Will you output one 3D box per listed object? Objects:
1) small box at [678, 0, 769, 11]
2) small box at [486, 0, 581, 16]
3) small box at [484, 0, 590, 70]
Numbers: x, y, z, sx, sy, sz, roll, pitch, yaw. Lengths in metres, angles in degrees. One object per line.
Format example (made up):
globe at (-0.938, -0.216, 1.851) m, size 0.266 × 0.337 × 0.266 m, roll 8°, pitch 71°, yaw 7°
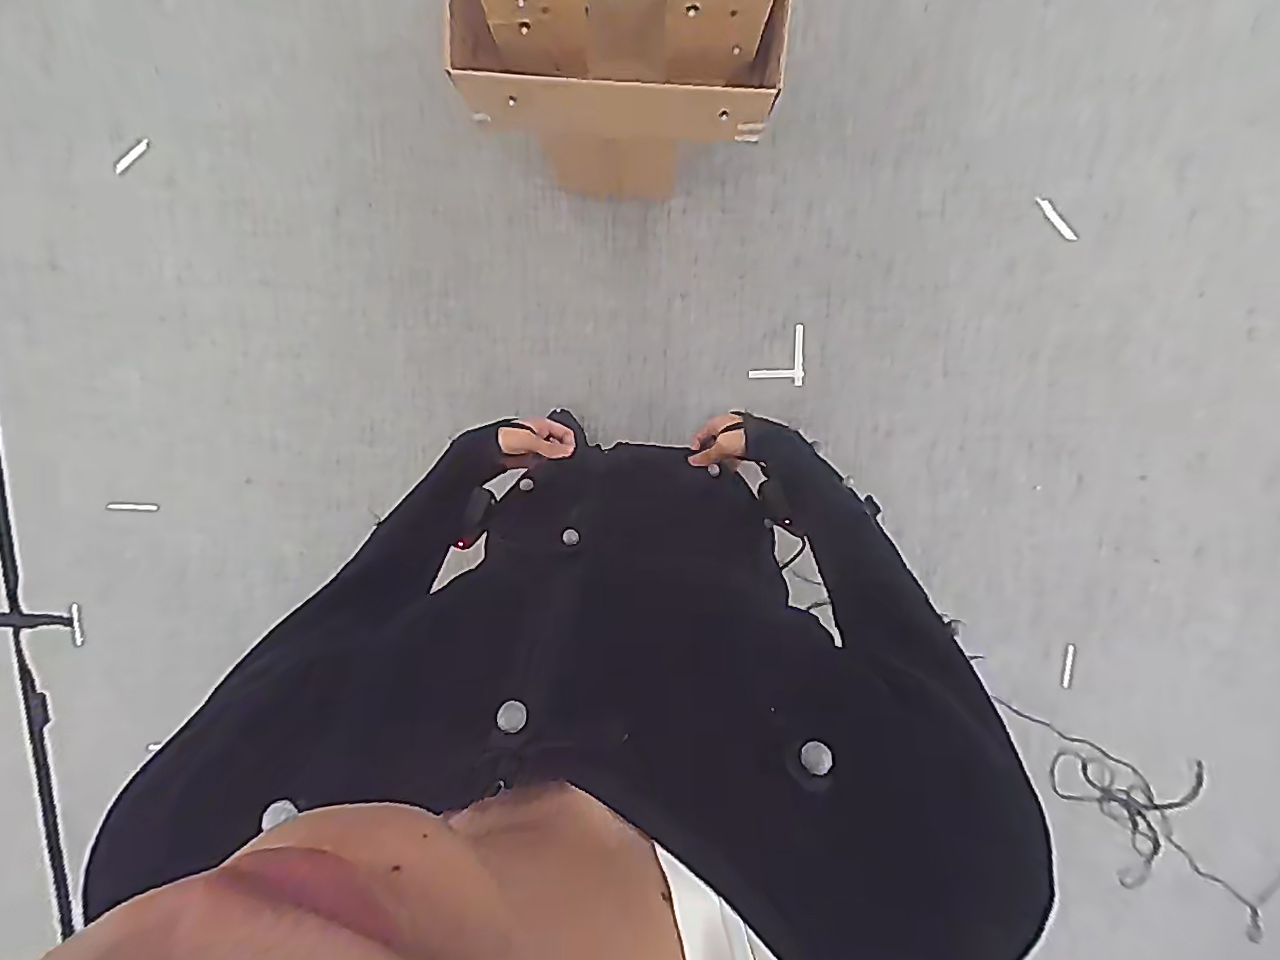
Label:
small box at (0.136, -0.866, 0.828) m, size 0.168 × 0.176 × 0.179 m, roll -1°, pitch 98°, yaw 0°
small box at (-0.185, -0.872, 0.834) m, size 0.168 × 0.176 × 0.179 m, roll -3°, pitch 100°, yaw 1°
small box at (-0.184, -0.901, 0.995) m, size 0.168 × 0.176 × 0.179 m, roll 0°, pitch 98°, yaw 1°
